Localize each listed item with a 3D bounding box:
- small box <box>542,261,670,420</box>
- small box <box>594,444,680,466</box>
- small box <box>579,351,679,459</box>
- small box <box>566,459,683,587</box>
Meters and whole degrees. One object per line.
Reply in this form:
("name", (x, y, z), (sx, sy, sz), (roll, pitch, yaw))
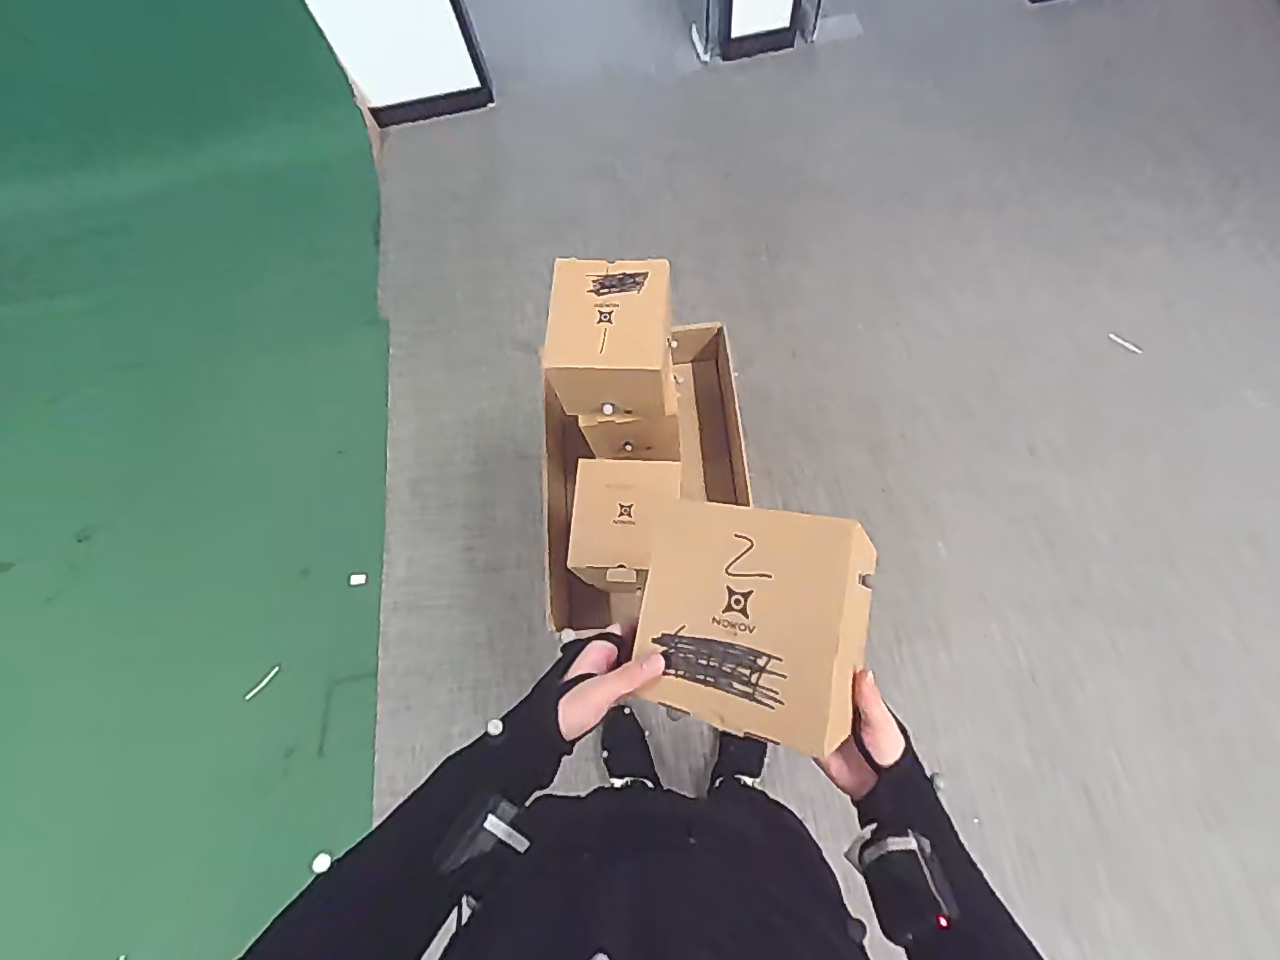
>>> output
("small box", (-0.041, -0.208, 0.828), (0.168, 0.176, 0.179), (2, 74, 6))
("small box", (-0.006, -0.108, 1.137), (0.168, 0.176, 0.179), (-7, 72, 4))
("small box", (-0.021, -0.154, 0.982), (0.168, 0.176, 0.179), (-7, 73, 3))
("small box", (-0.016, 0.078, 0.898), (0.168, 0.176, 0.179), (3, 71, 6))
